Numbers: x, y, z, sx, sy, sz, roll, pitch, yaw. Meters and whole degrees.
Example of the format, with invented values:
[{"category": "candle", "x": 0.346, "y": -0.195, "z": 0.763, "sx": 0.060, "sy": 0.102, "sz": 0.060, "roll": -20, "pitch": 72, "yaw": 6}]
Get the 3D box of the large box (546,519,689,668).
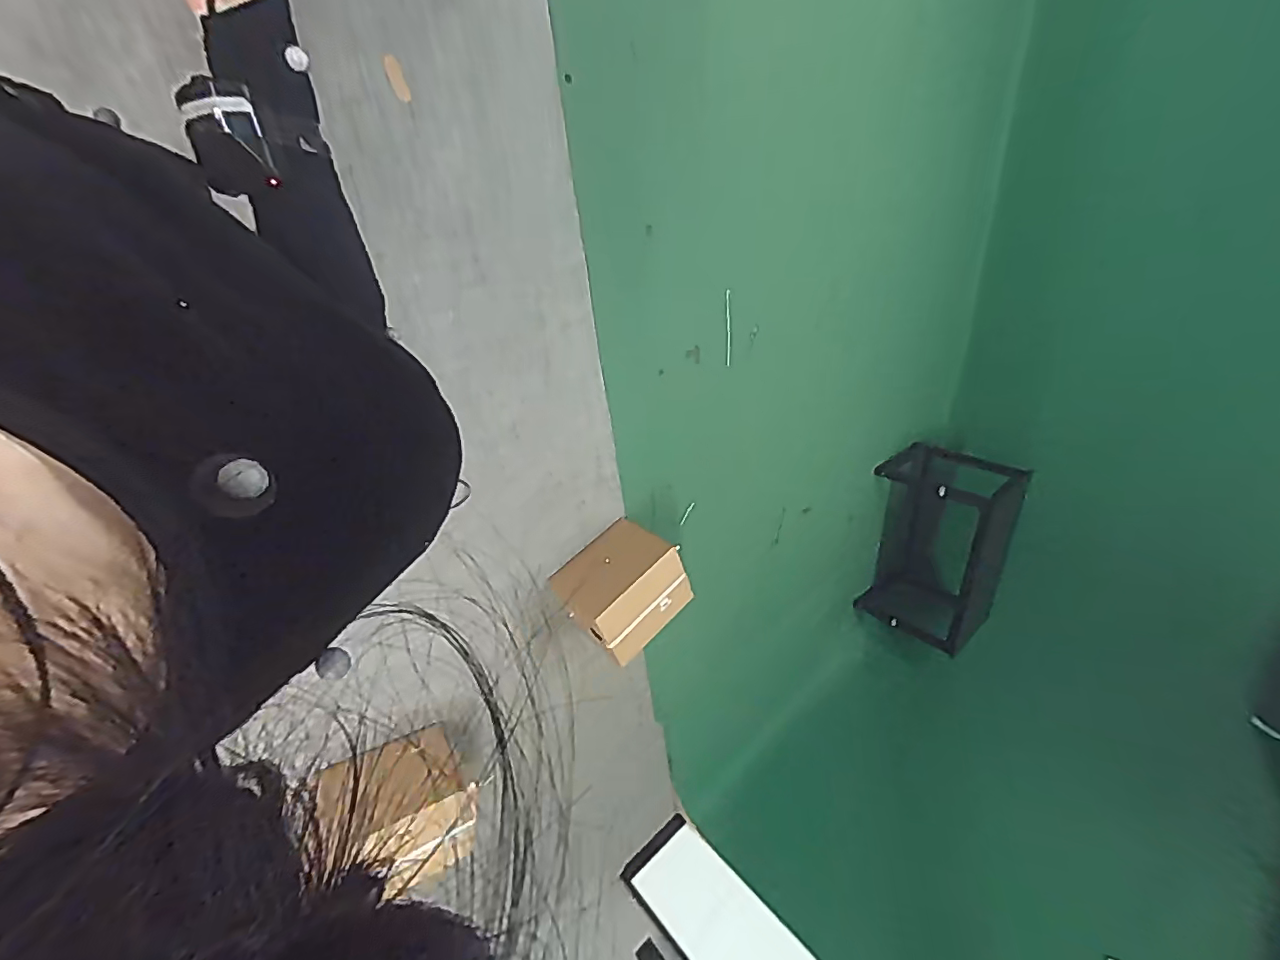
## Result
[{"category": "large box", "x": -0.083, "y": 0.426, "z": 2.095, "sx": 0.408, "sy": 0.320, "sz": 0.320, "roll": -41, "pitch": 132, "yaw": -24}]
